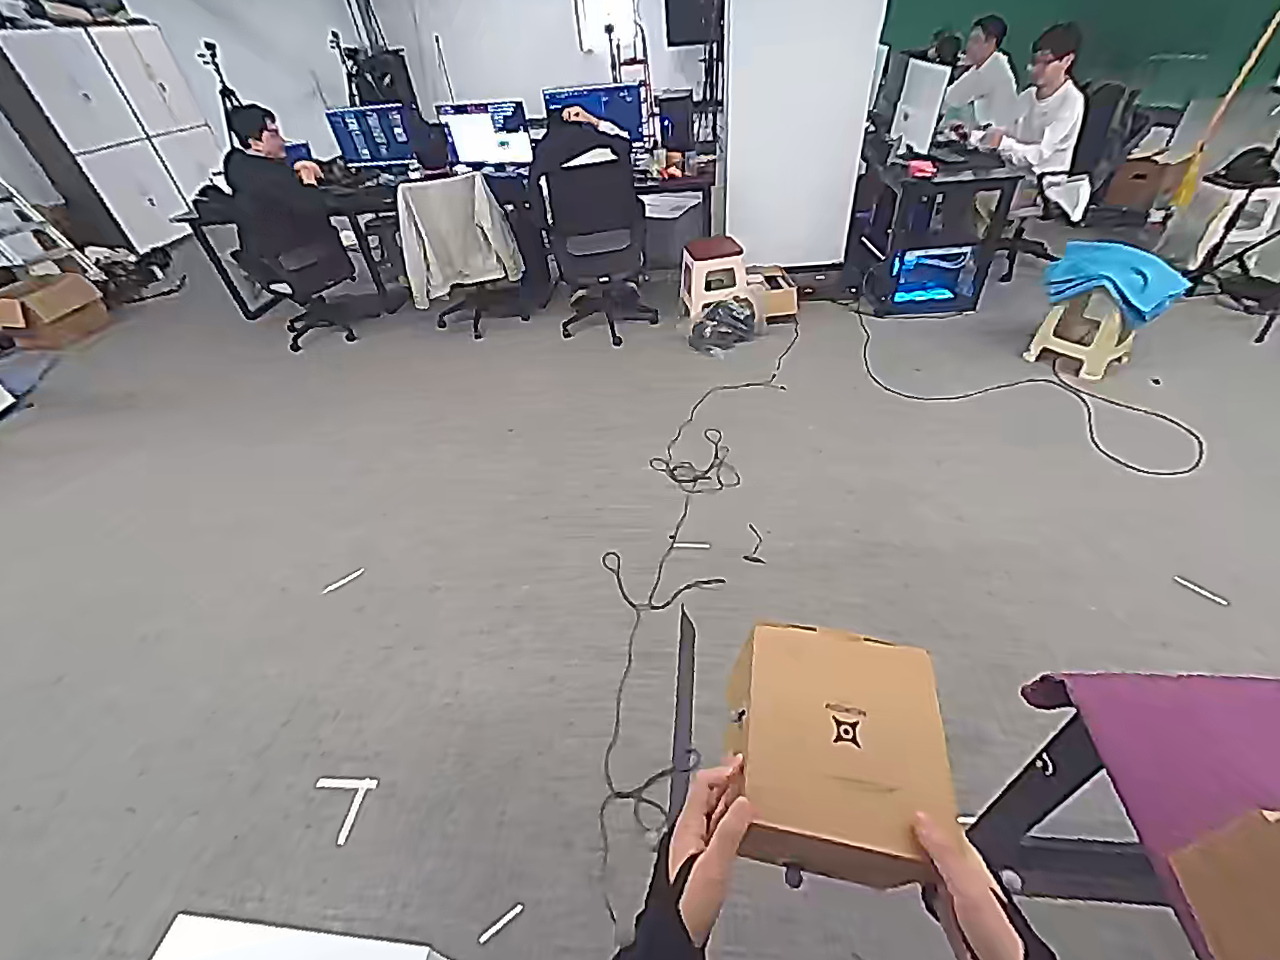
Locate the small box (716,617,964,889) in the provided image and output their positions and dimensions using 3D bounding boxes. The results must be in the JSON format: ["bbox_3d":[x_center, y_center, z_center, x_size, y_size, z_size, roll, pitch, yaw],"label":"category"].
[{"bbox_3d":[0.171,0.261,0.517,0.168,0.176,0.179,10,49,6],"label":"small box"}]

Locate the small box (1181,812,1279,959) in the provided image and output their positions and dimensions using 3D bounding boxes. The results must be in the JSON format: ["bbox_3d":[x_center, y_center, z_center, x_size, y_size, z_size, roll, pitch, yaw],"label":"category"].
[{"bbox_3d":[0.673,0.439,0.493,0.168,0.176,0.179,3,41,11],"label":"small box"}]
